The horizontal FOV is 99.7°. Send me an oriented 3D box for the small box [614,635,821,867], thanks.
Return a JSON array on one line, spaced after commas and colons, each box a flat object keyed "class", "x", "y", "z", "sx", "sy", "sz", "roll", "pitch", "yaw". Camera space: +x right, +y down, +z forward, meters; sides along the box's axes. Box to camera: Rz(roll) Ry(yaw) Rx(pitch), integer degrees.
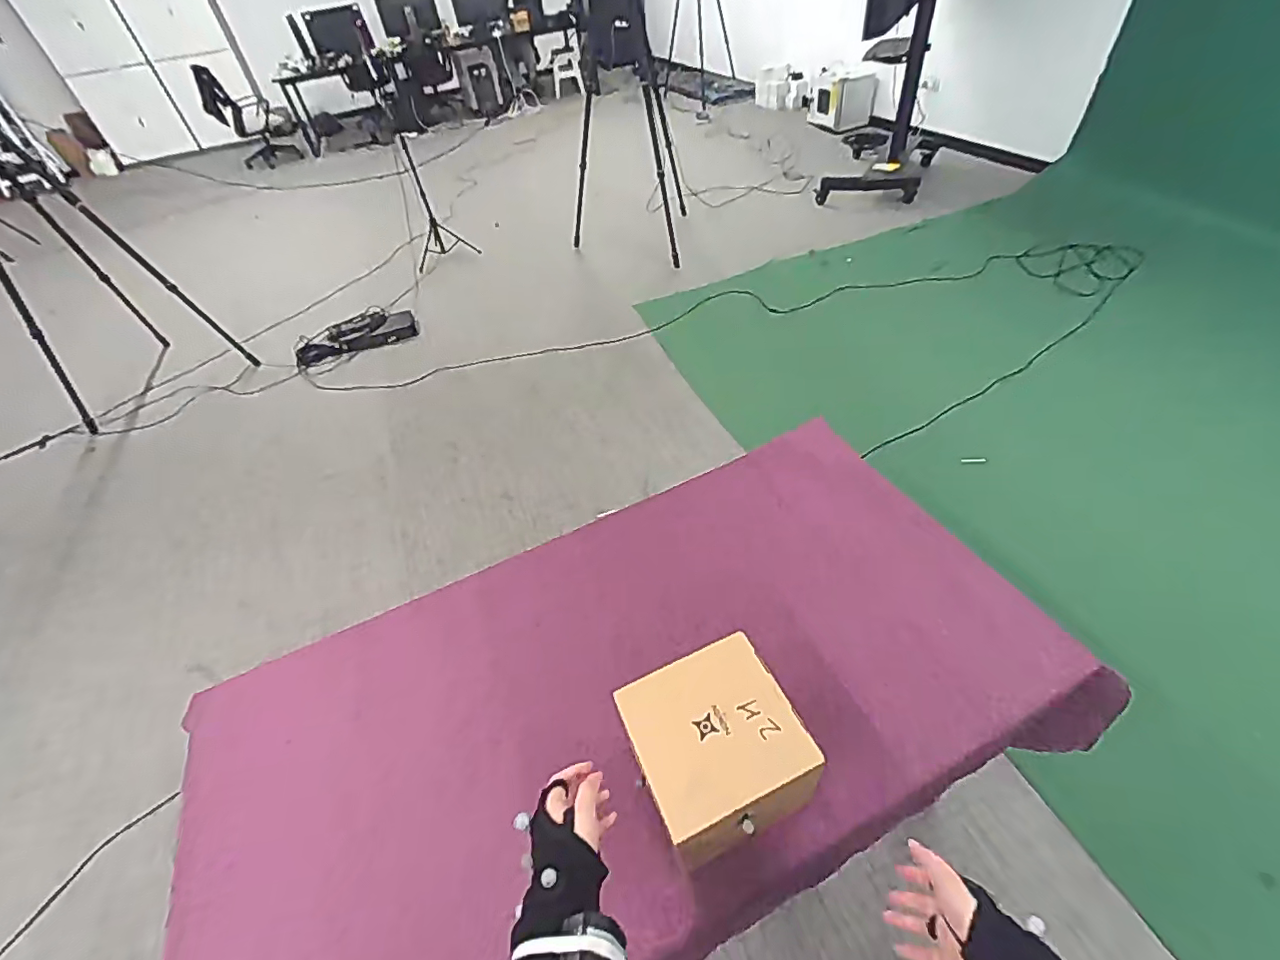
[{"class": "small box", "x": 0.088, "y": 0.324, "z": 0.645, "sx": 0.179, "sy": 0.176, "sz": 0.168, "roll": -21, "pitch": 47, "yaw": -12}]
